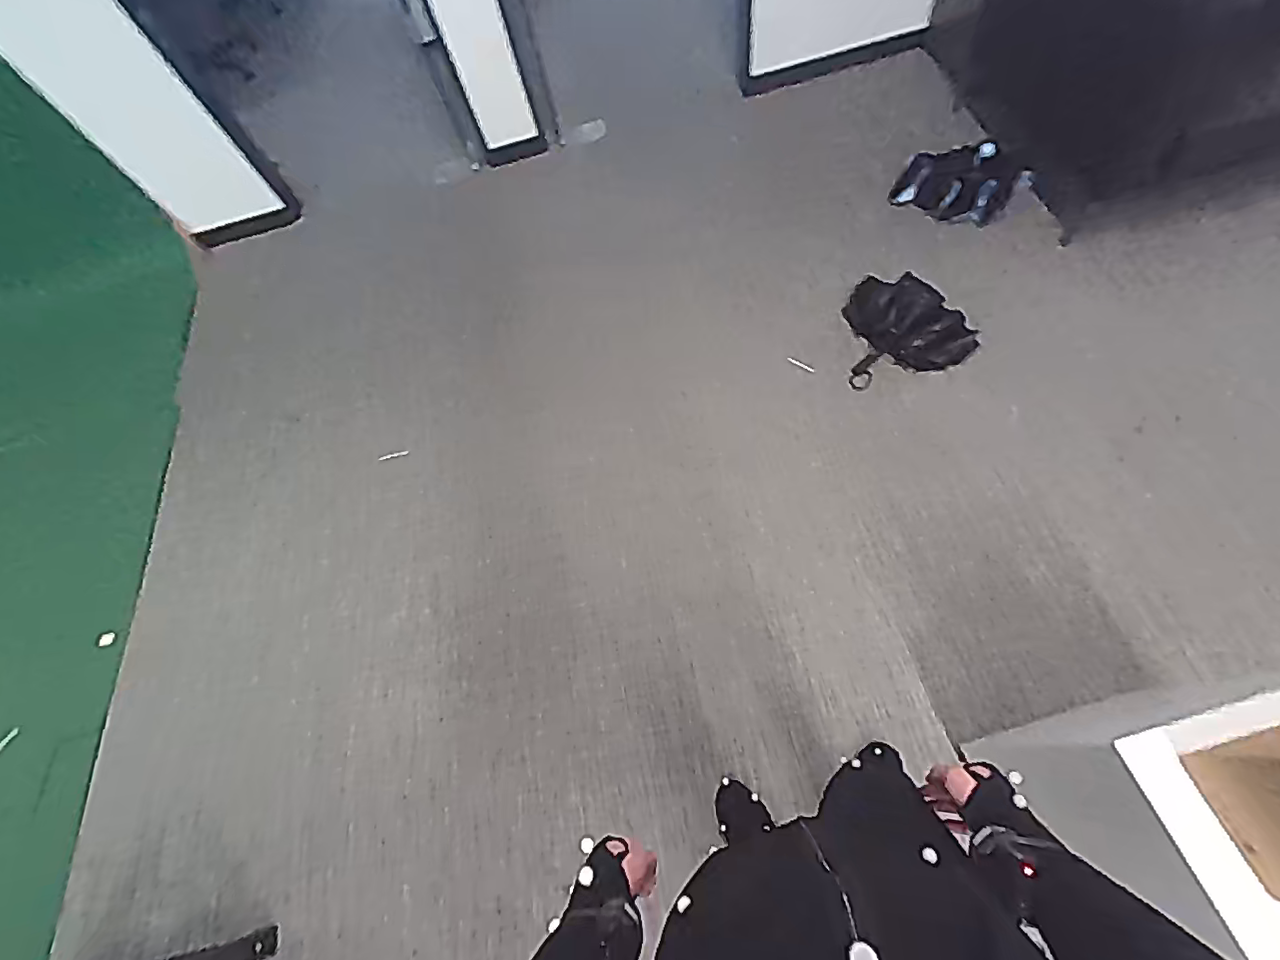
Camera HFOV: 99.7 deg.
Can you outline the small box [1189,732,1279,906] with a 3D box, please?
[{"bbox_3d":[0.807,0.382,0.607,0.179,0.176,0.168,-17,63,0],"label":"small box"}]
